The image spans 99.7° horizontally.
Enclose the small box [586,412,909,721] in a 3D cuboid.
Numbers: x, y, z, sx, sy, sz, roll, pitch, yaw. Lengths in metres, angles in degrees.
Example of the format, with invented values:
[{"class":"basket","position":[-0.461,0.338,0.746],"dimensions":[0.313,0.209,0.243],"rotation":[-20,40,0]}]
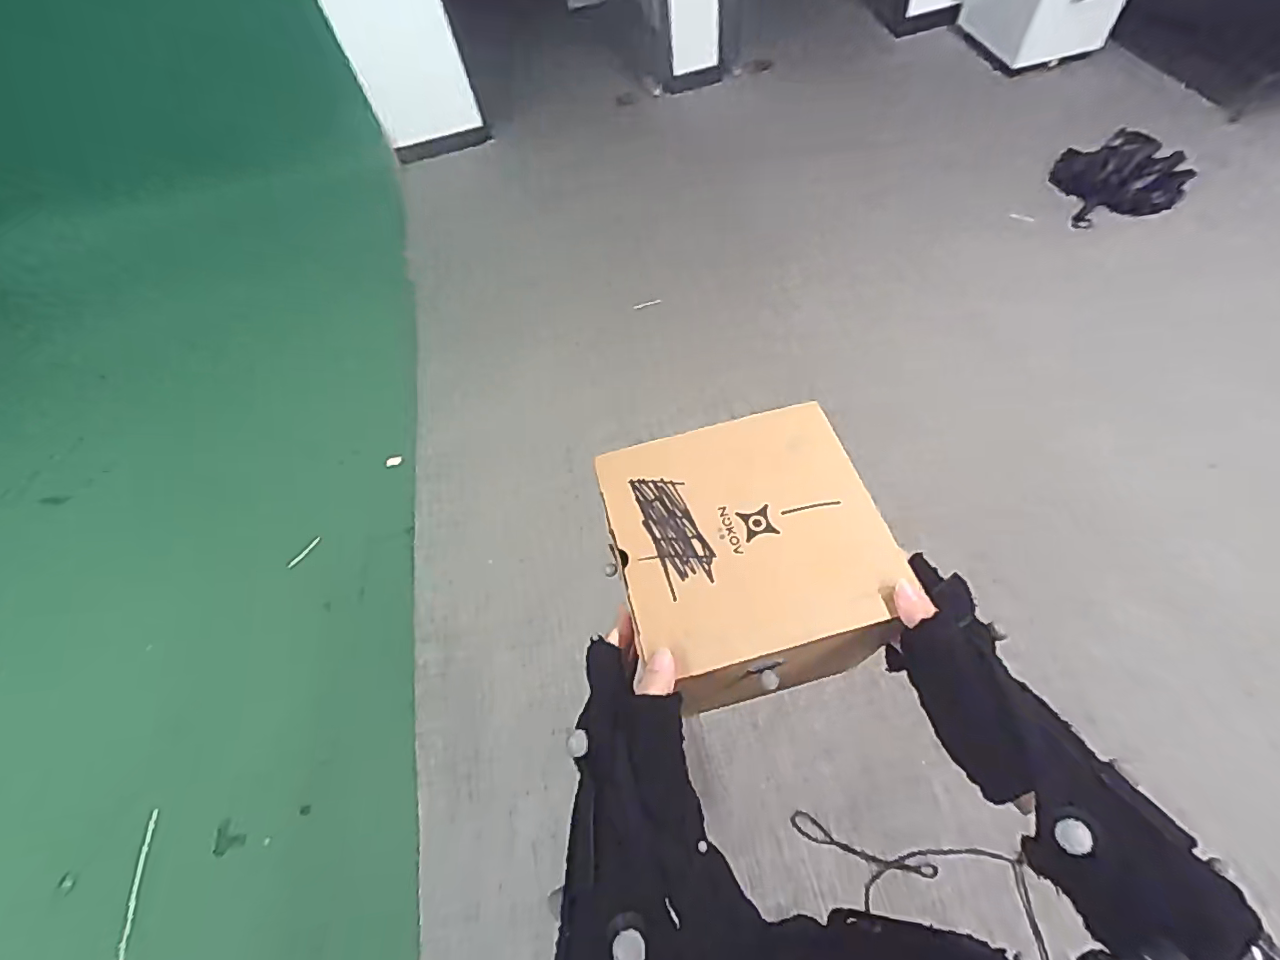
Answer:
[{"class":"small box","position":[0.069,0.077,0.427],"dimensions":[0.179,0.176,0.168],"rotation":[-14,58,-3]}]
